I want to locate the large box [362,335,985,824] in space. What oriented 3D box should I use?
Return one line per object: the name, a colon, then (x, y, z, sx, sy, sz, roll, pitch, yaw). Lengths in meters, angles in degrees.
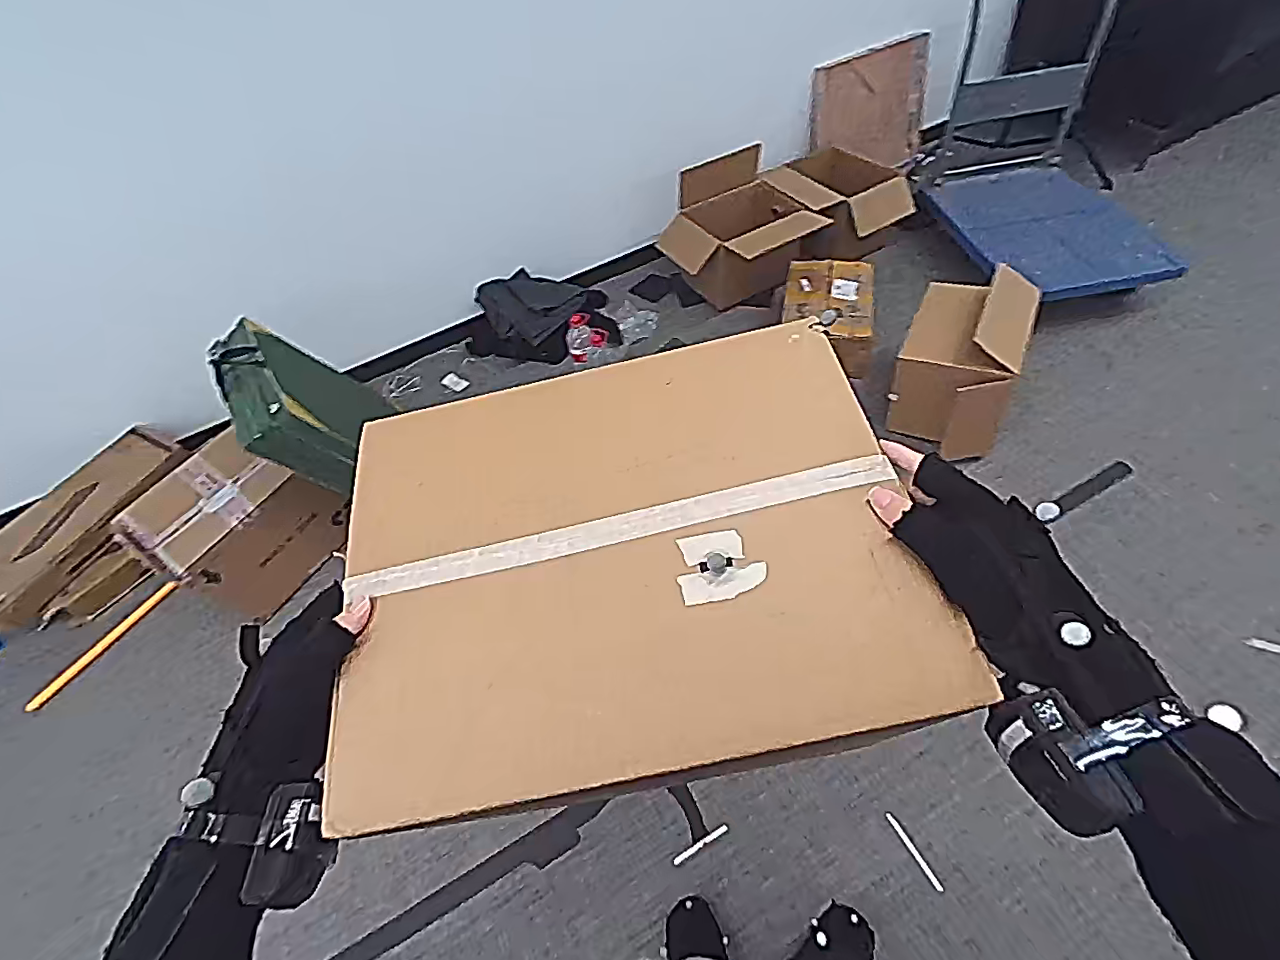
large box: (0.012, 0.116, 0.534, 0.408, 0.320, 0.320, -12, 60, 2)
